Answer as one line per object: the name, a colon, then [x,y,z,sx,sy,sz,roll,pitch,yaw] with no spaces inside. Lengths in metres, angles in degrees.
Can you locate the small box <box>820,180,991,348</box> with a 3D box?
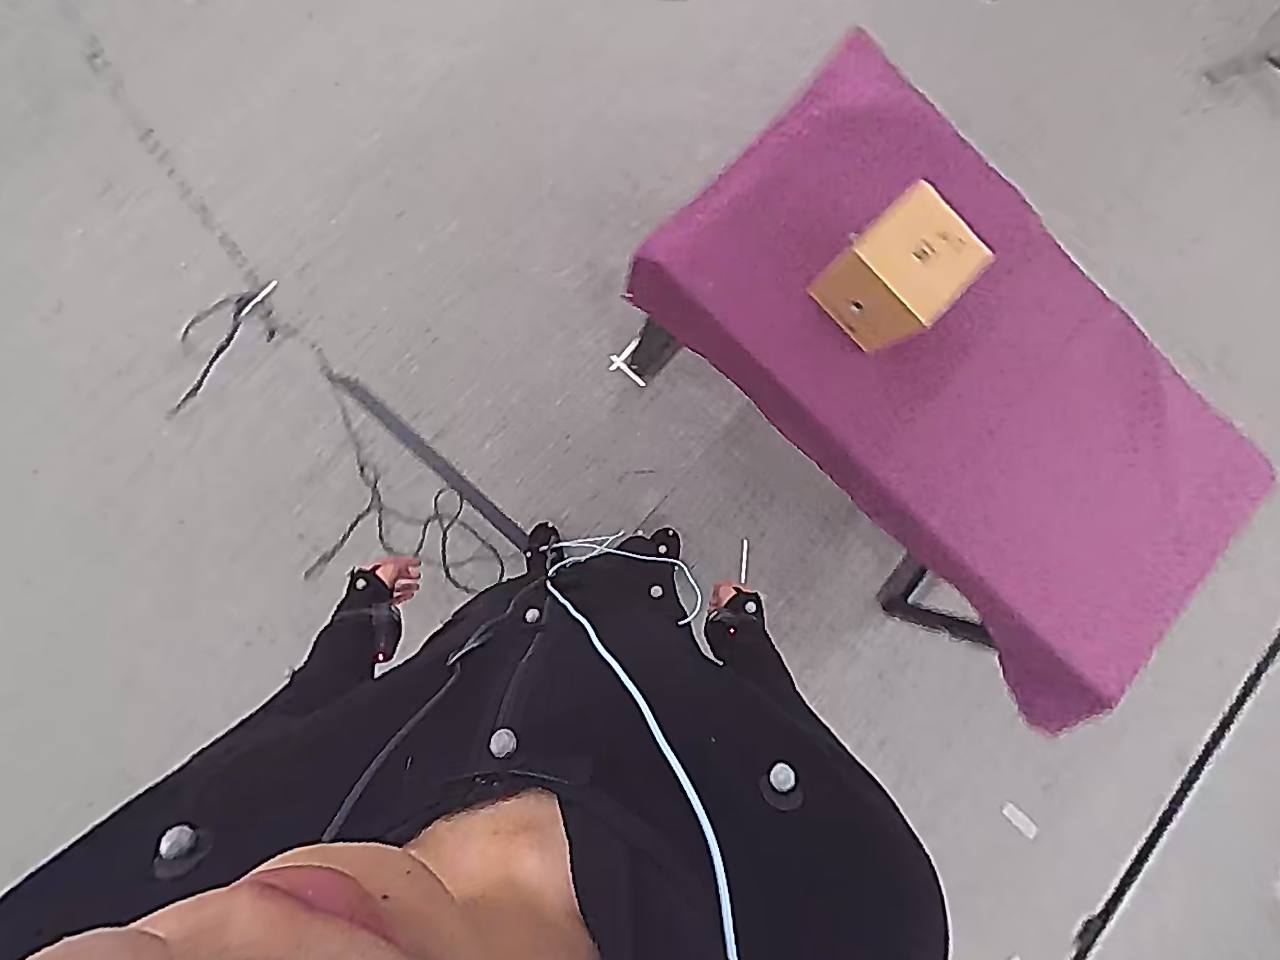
small box: [0.437,-0.356,0.928,0.179,0.176,0.168,-45,94,-7]
